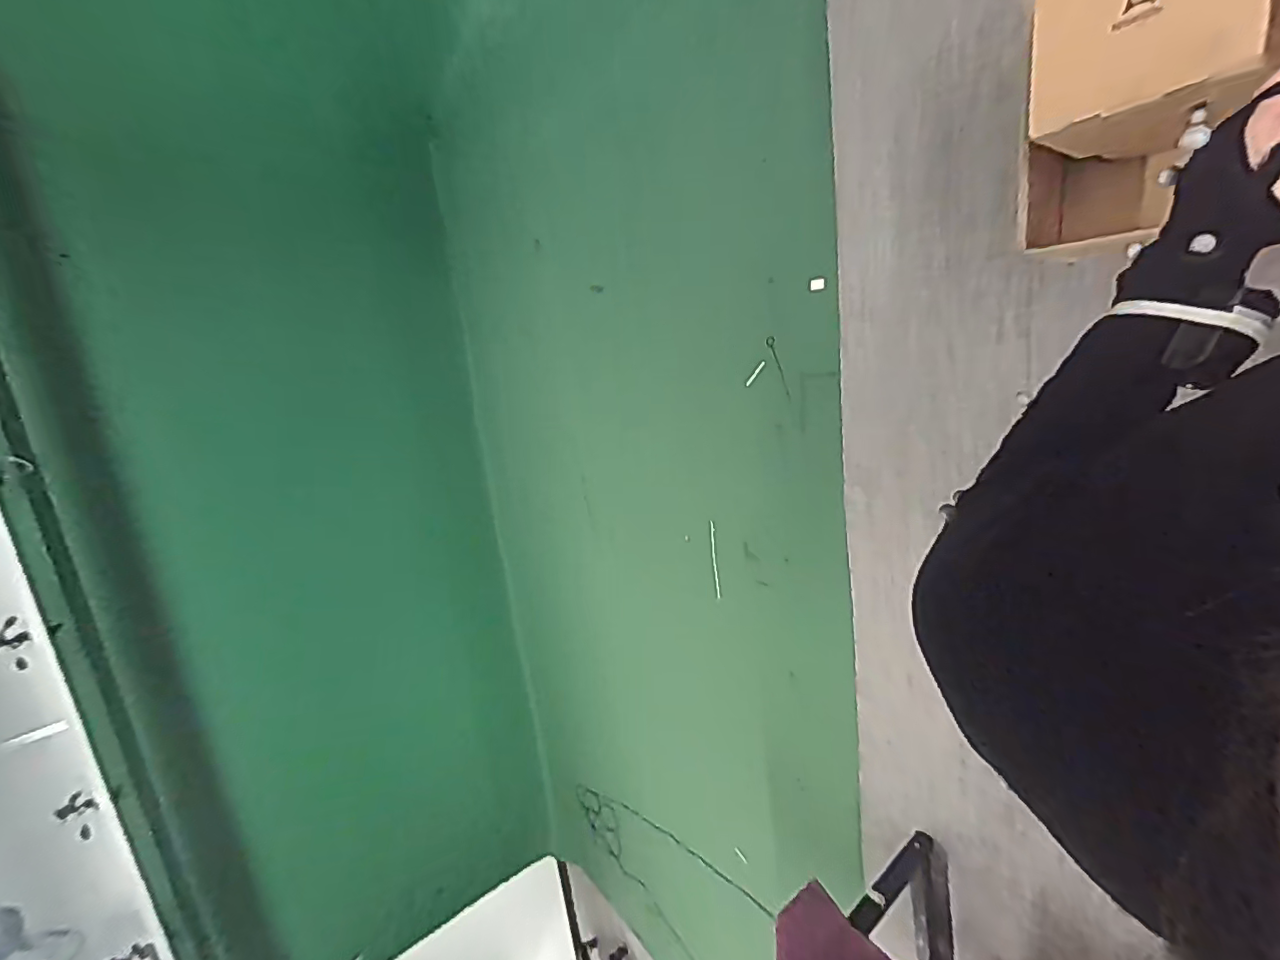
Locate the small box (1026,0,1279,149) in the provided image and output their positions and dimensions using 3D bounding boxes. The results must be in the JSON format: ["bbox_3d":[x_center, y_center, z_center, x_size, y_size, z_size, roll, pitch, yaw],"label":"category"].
[{"bbox_3d":[0.516,-0.453,0.539,0.168,0.176,0.179,12,112,51],"label":"small box"}]
